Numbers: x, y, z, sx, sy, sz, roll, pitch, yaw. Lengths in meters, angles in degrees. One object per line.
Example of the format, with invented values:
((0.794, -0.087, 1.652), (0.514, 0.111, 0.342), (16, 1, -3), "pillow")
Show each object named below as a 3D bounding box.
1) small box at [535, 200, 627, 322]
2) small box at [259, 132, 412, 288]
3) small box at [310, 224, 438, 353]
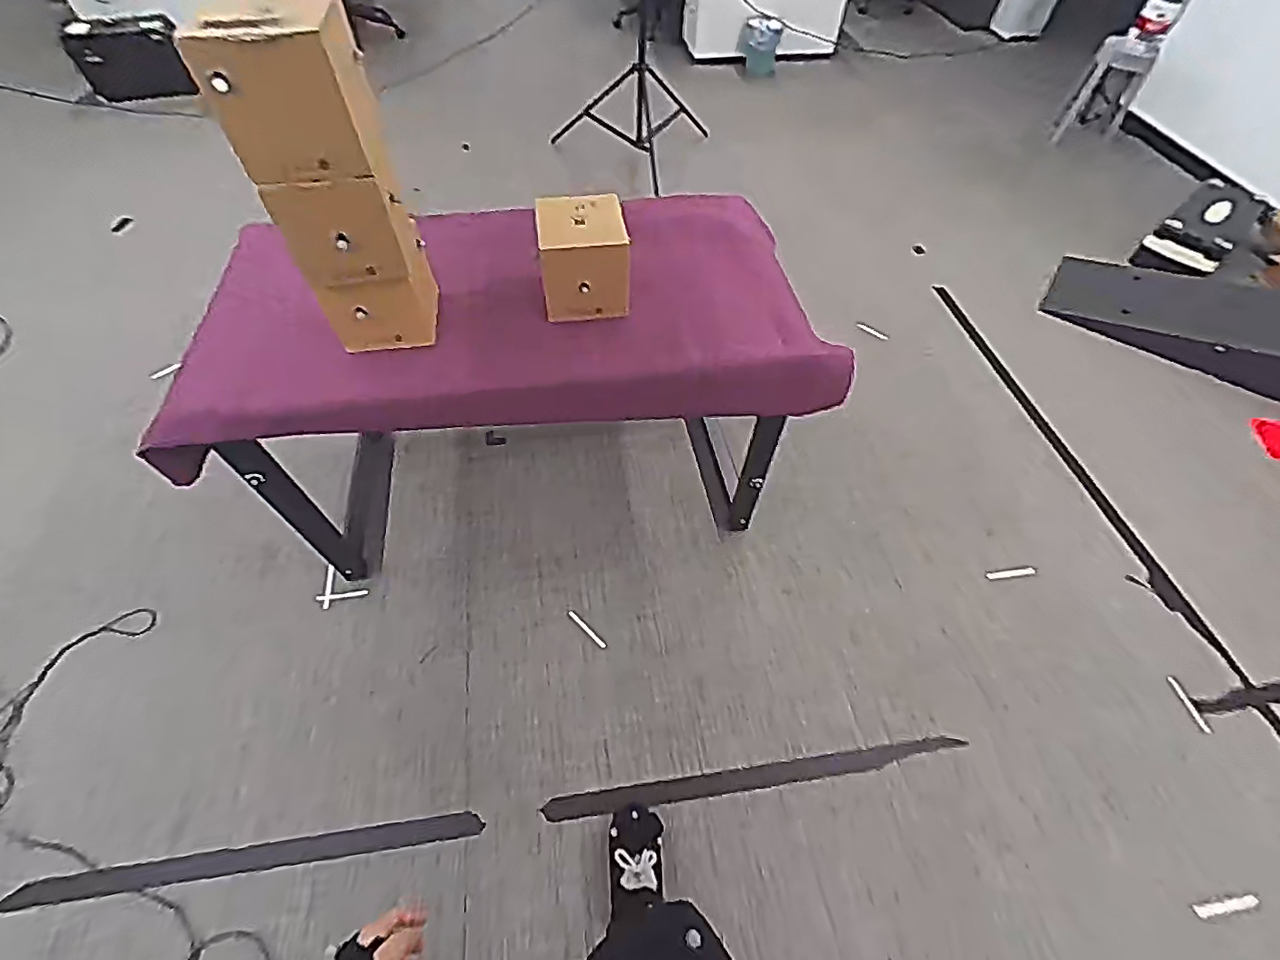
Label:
((-0.117, -0.437, 1.095), (0.168, 0.176, 0.179), (-7, 56, -7), "small box")
((-0.484, -0.434, 0.887), (0.168, 0.176, 0.179), (-11, 57, -9), "small box")
((-0.494, -0.358, 1.033), (0.168, 0.176, 0.179), (-7, 56, -7), "small box")
